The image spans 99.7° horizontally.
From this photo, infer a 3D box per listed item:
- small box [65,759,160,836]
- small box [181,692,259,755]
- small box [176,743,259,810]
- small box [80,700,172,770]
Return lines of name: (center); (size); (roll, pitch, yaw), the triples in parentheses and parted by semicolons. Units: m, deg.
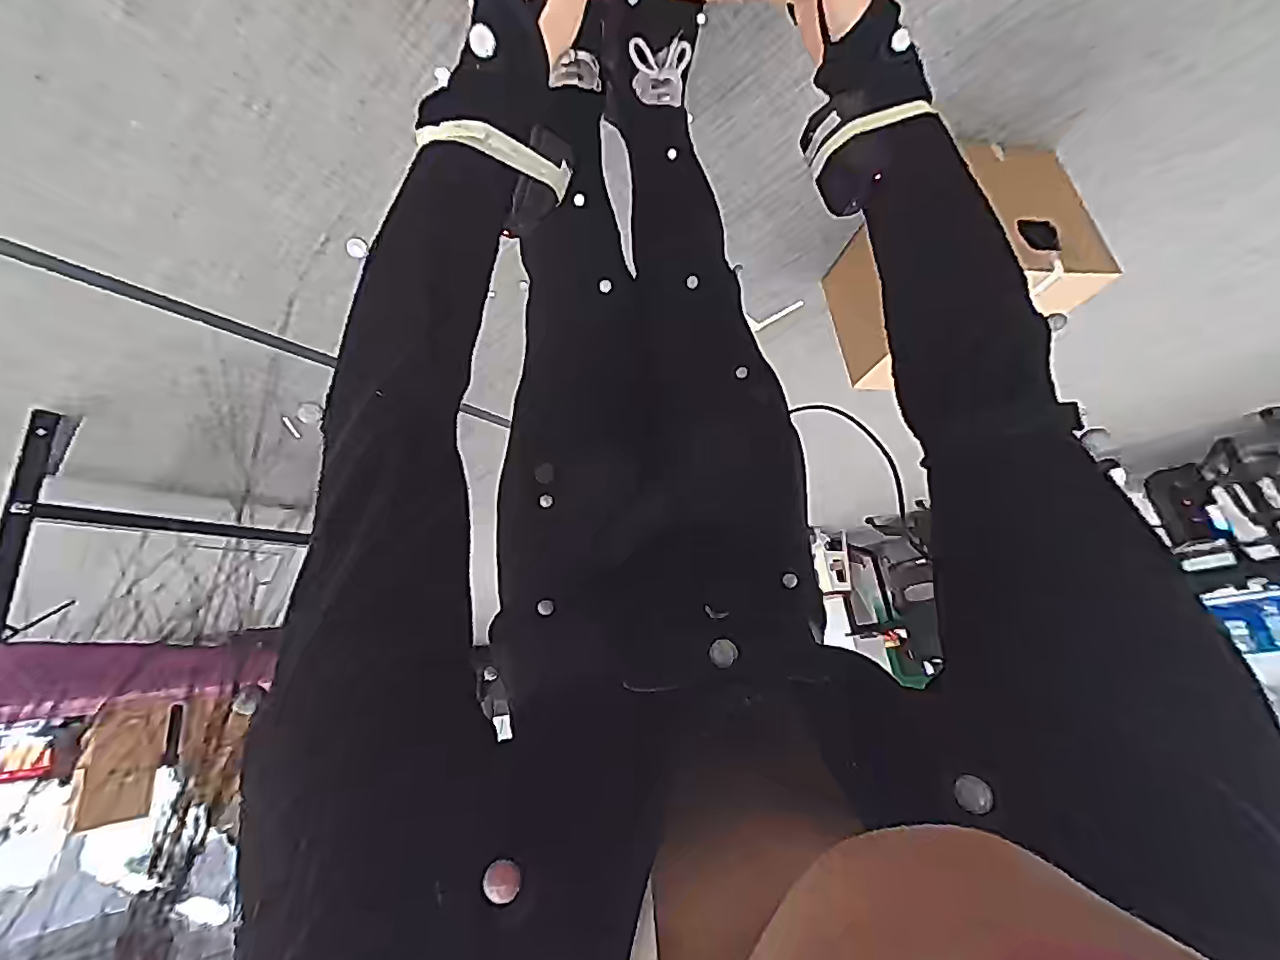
small box: (-1.551, 0.927, 1.596); (0.179, 0.176, 0.168); (-25, 155, 35)
small box: (-1.409, 0.815, 1.820); (0.179, 0.176, 0.168); (-22, 155, 33)
small box: (-1.382, 0.970, 1.776); (0.179, 0.176, 0.168); (-23, 155, 30)
small box: (-1.567, 0.776, 1.654); (0.179, 0.176, 0.168); (-23, 156, 32)
